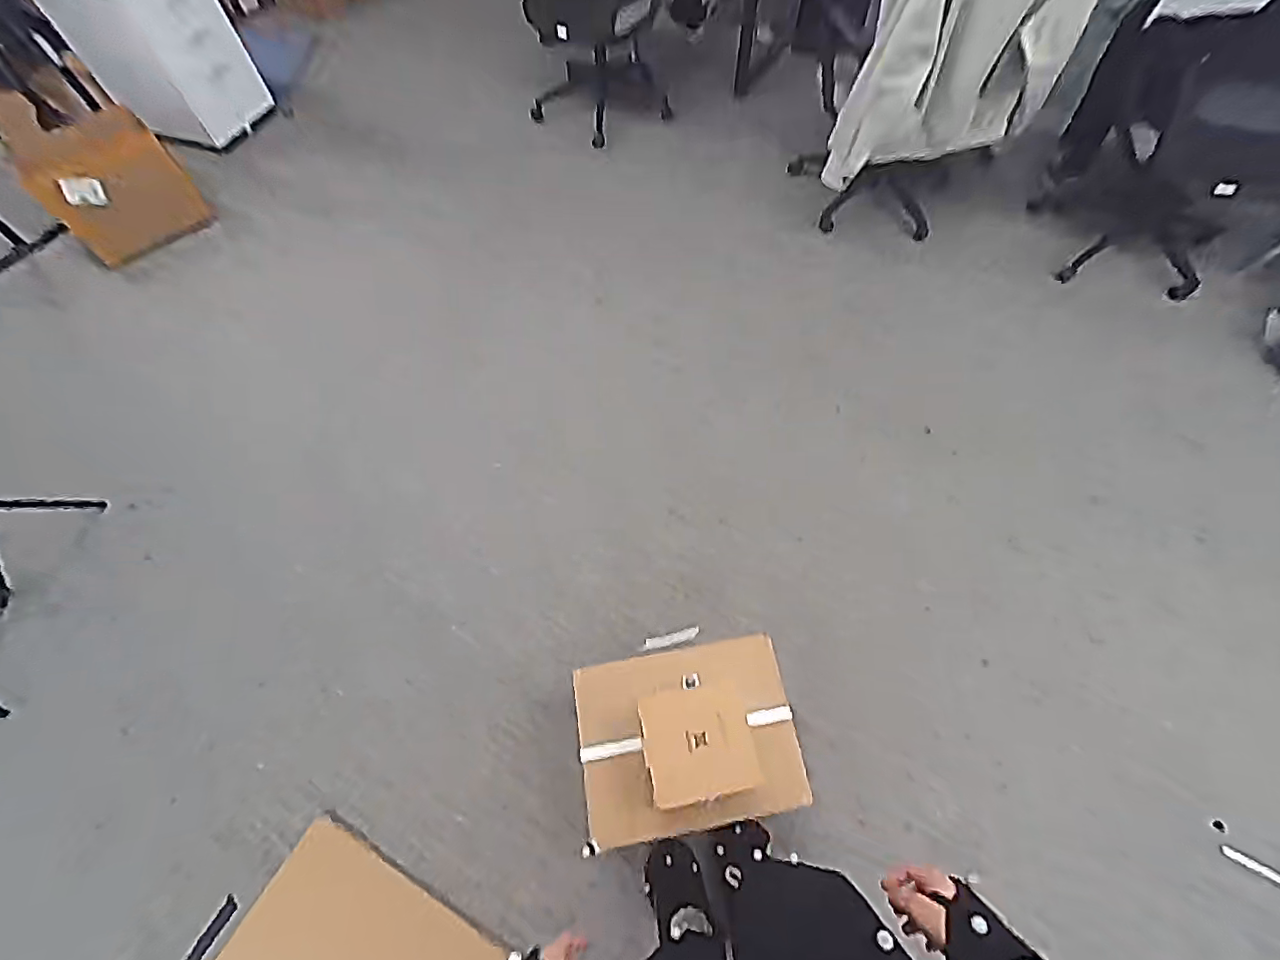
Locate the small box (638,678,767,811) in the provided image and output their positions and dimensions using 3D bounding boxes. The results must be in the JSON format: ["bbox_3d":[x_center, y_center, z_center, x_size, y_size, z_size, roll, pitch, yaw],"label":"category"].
[{"bbox_3d":[0.099,0.457,0.935,0.179,0.176,0.168,-11,63,-5],"label":"small box"}]
